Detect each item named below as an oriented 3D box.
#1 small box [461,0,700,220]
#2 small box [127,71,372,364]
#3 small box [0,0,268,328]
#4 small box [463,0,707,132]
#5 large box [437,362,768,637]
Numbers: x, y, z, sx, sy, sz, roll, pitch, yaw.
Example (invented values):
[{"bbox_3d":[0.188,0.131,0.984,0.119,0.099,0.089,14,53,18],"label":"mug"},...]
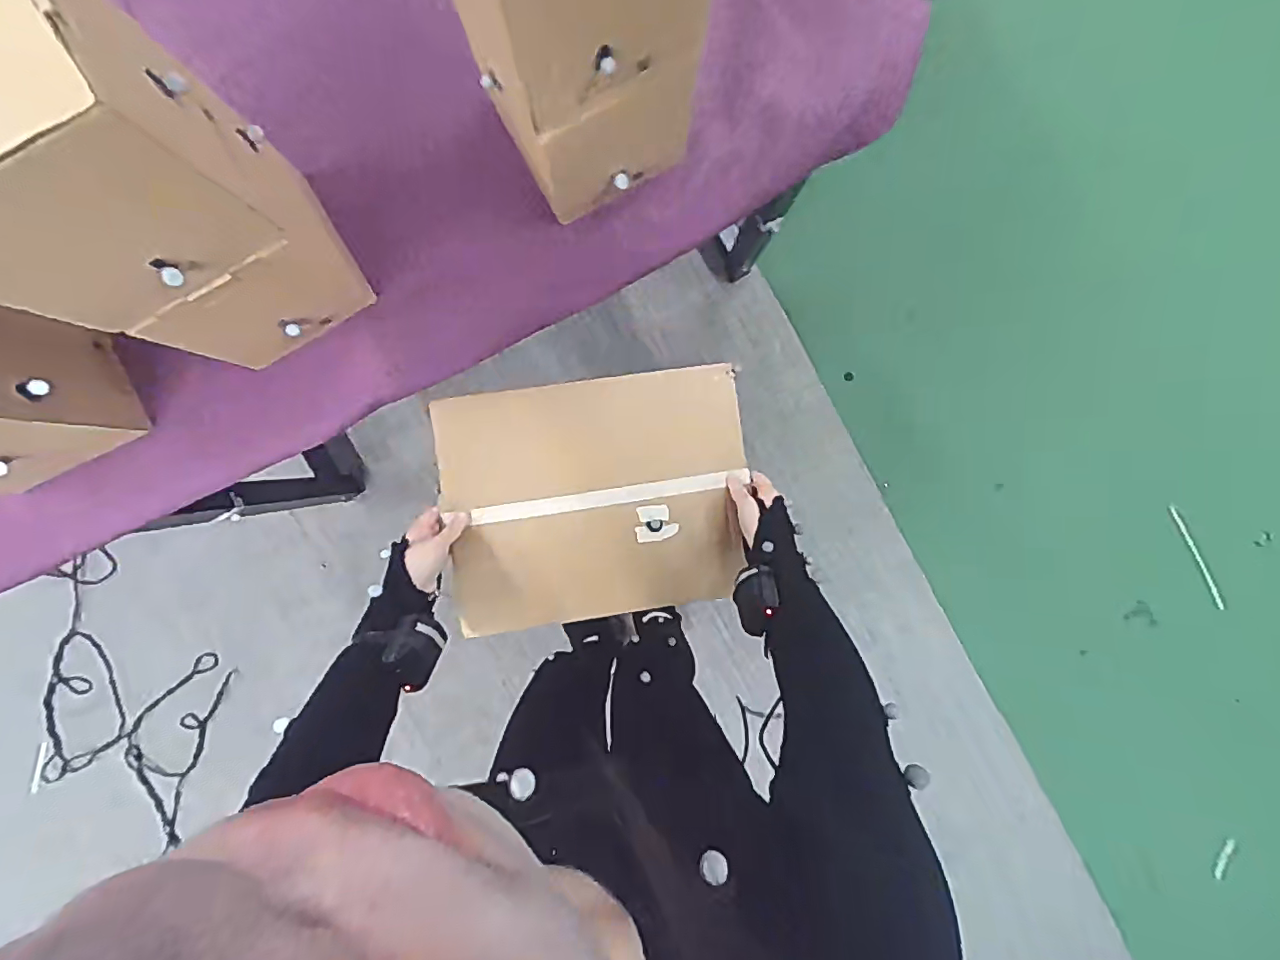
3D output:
[{"bbox_3d":[-0.060,-0.411,0.556,0.168,0.176,0.179,-29,93,0],"label":"small box"},{"bbox_3d":[-0.417,-0.243,0.549,0.168,0.176,0.179,-31,92,0],"label":"small box"},{"bbox_3d":[-0.414,-0.237,0.385,0.179,0.176,0.168,-31,91,-1],"label":"small box"},{"bbox_3d":[-0.057,-0.411,0.393,0.168,0.176,0.179,-30,92,0],"label":"small box"},{"bbox_3d":[-0.060,0.026,0.853,0.408,0.320,0.320,-8,90,-6],"label":"large box"}]
